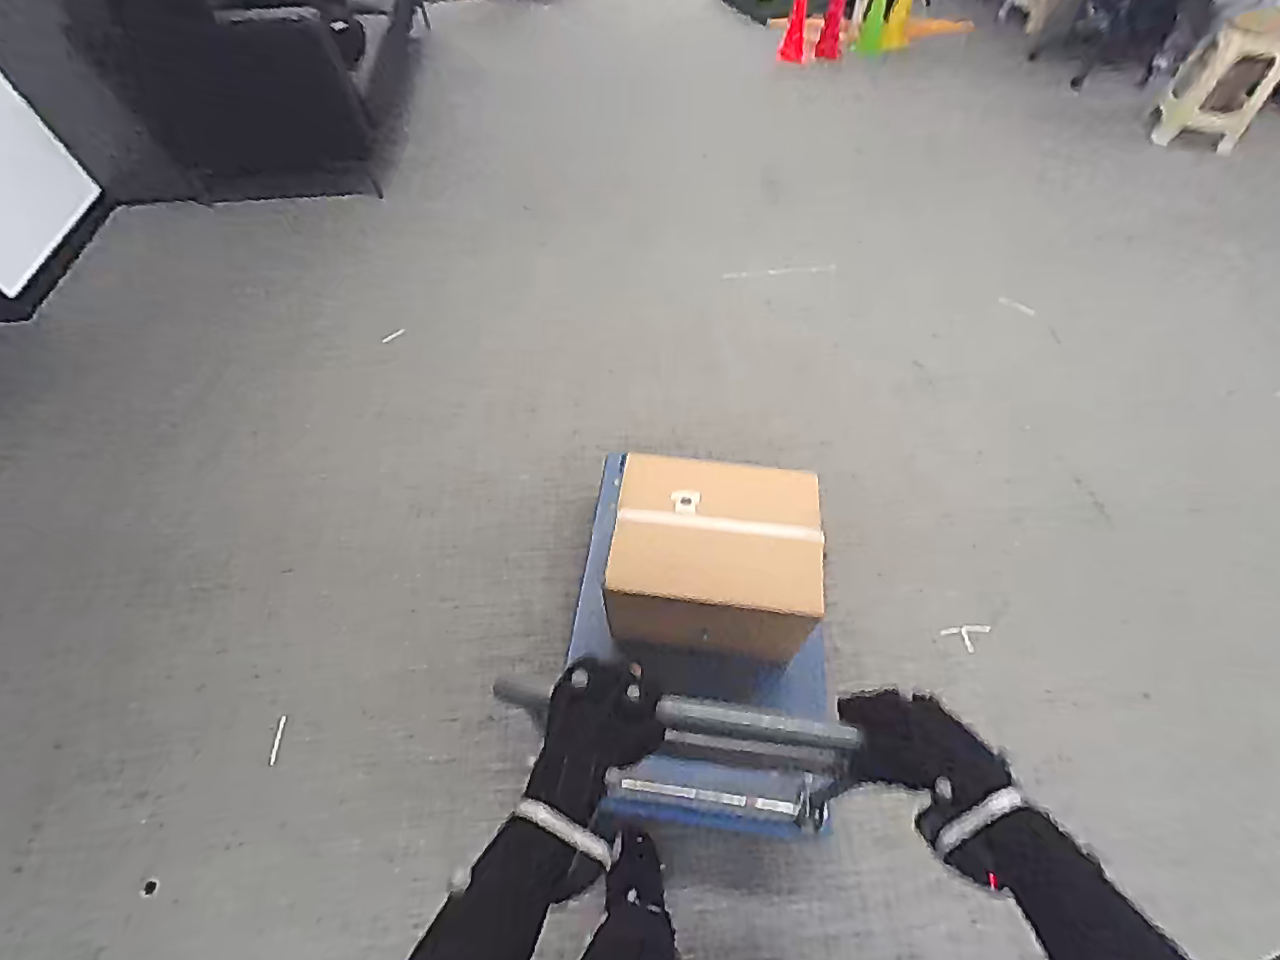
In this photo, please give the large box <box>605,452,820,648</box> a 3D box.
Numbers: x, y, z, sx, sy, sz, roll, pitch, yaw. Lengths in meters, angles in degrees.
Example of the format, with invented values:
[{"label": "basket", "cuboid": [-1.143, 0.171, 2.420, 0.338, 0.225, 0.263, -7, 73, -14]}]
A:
[{"label": "large box", "cuboid": [0.155, 0.163, 1.203, 0.408, 0.320, 0.320, 5, 56, 6]}]
